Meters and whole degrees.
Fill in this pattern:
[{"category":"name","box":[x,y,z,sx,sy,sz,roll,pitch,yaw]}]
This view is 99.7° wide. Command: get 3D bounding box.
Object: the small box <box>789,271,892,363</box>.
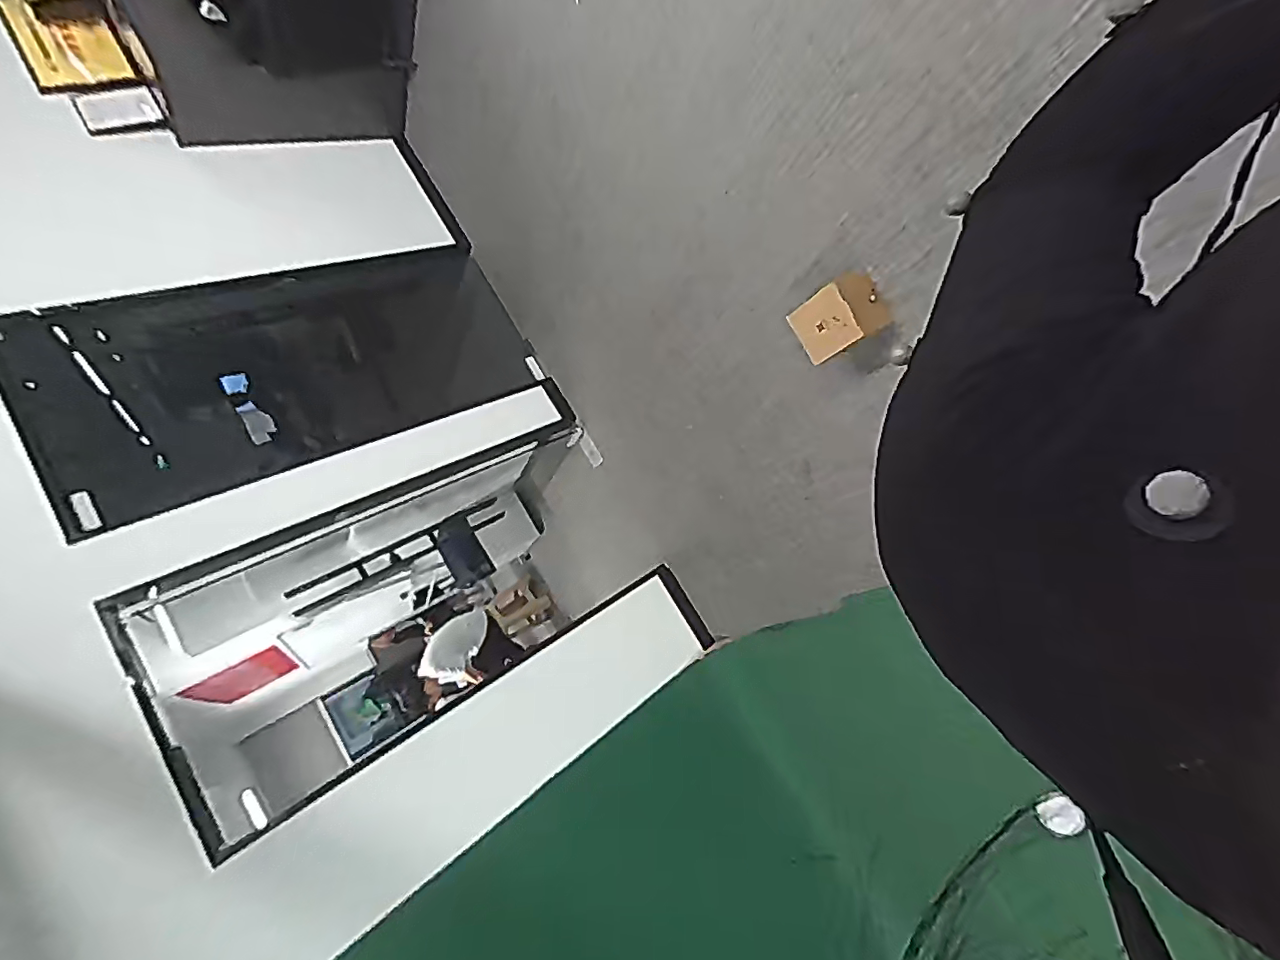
[{"category":"small box","box":[0.561,-0.456,1.512,0.168,0.176,0.179,61,147,2]}]
